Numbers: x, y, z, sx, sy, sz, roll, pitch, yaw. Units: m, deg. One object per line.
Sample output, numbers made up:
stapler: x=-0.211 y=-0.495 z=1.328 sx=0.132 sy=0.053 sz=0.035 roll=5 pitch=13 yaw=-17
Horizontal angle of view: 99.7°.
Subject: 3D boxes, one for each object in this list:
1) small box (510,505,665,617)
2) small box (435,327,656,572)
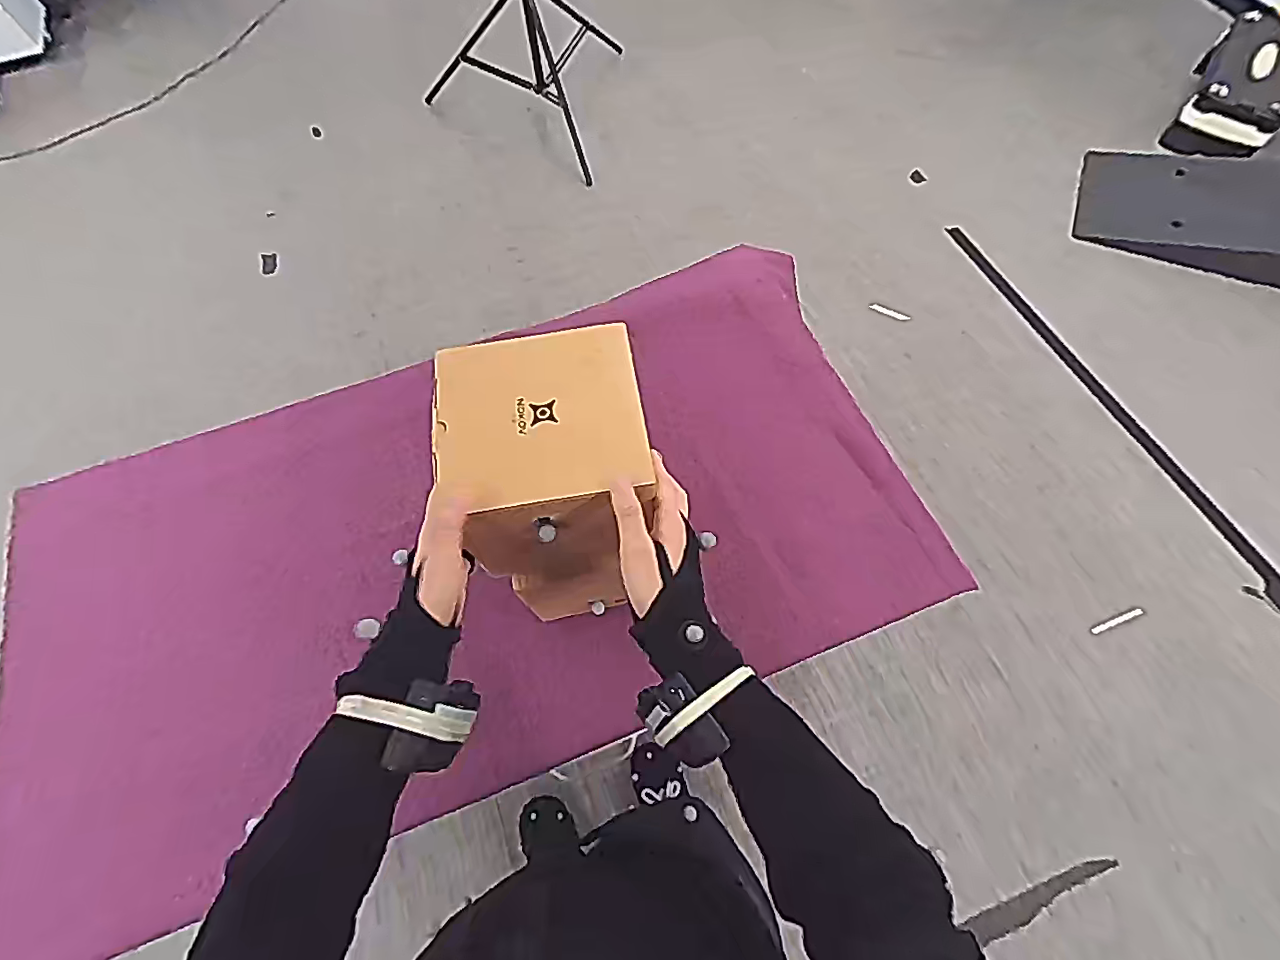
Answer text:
small box: x=-0.068 y=0.055 z=0.671 sx=0.168 sy=0.176 sz=0.179 roll=-12 pitch=66 yaw=-3
small box: x=-0.083 y=-0.020 z=0.527 sx=0.179 sy=0.176 sz=0.168 roll=-10 pitch=65 yaw=-2
